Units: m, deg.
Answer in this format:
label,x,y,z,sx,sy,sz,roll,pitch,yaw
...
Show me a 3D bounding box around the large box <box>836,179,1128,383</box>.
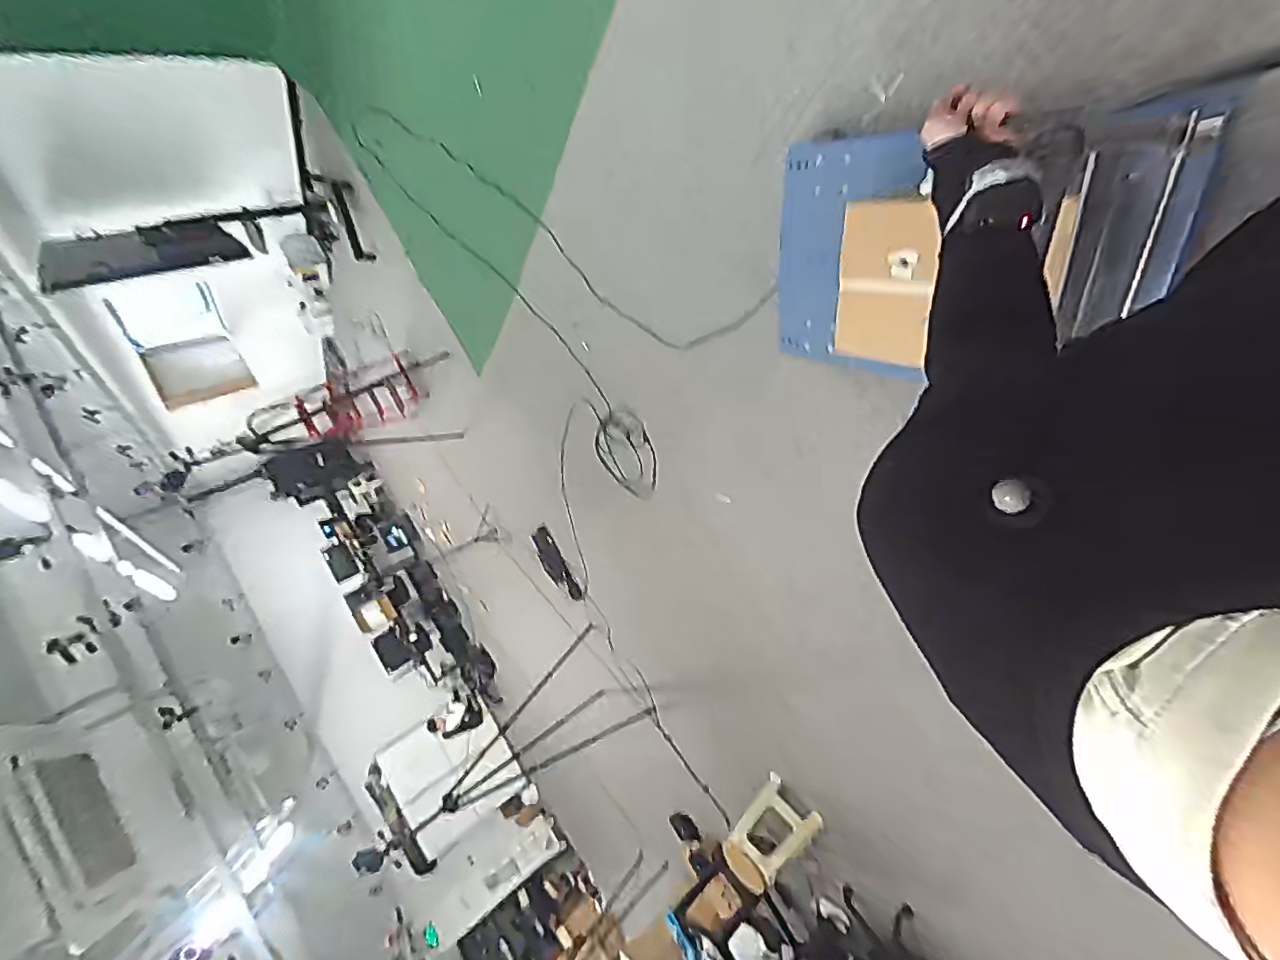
label,x,y,z,sx,sy,sz,roll,pitch,yaw
large box,0.680,-0.423,1.123,0.408,0.320,0.320,26,131,44
